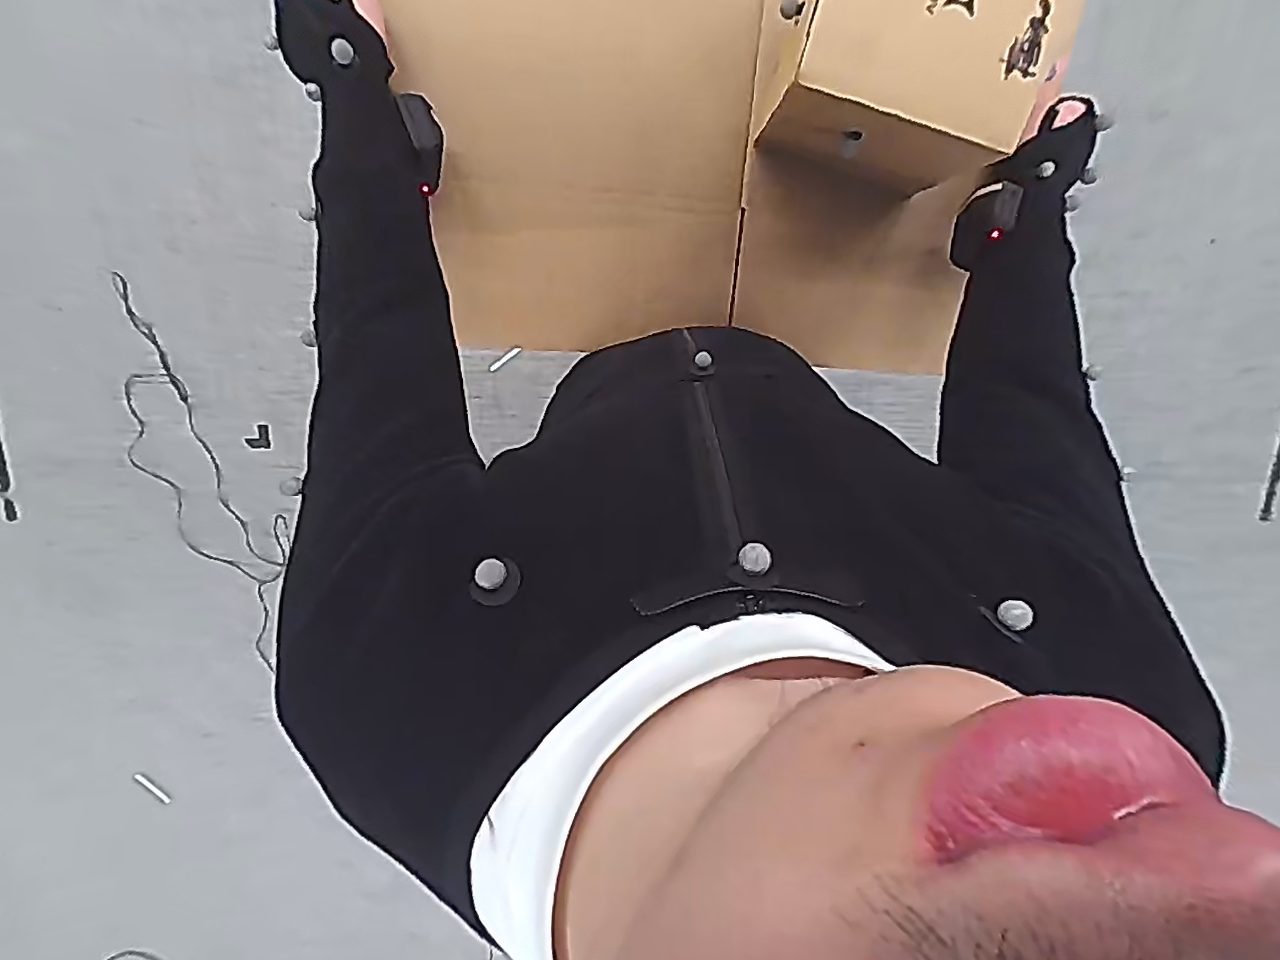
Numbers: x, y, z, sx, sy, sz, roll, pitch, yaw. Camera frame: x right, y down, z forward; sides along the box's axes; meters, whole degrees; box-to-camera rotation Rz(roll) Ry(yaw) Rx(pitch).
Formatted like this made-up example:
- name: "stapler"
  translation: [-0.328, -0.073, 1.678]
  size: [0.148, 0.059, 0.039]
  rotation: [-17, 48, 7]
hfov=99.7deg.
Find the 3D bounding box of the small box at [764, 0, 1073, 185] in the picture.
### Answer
- name: "small box"
  translation: [0.220, -0.370, 0.454]
  size: [0.179, 0.176, 0.168]
  rotation: [16, 108, -3]
